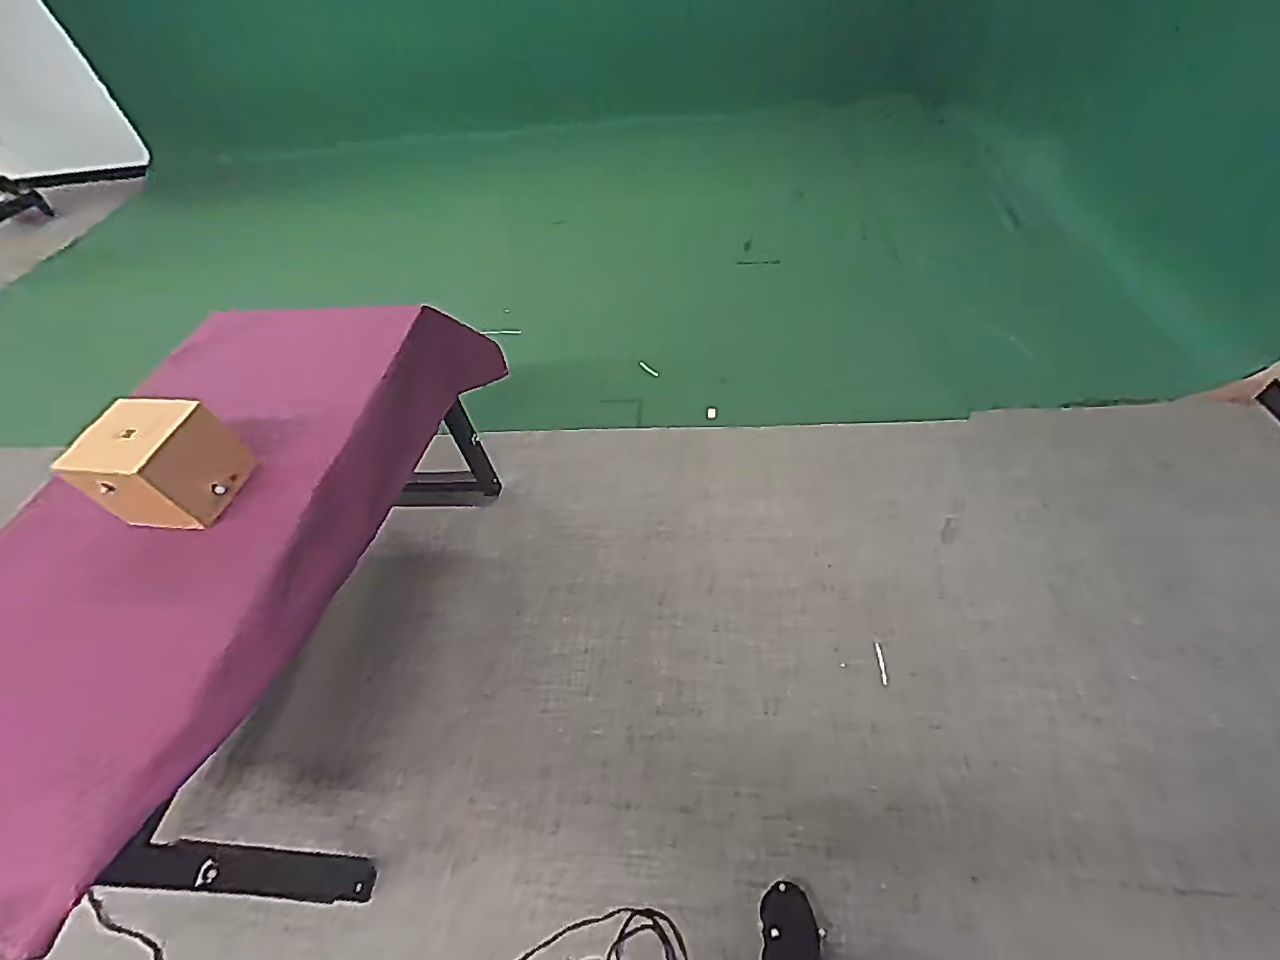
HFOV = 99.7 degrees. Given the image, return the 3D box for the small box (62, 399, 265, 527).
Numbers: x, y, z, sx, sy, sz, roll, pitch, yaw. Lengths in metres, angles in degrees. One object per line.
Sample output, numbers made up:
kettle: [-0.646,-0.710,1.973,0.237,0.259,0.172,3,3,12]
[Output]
small box: [-0.848,-0.028,0.983,0.179,0.176,0.168,4,52,10]
